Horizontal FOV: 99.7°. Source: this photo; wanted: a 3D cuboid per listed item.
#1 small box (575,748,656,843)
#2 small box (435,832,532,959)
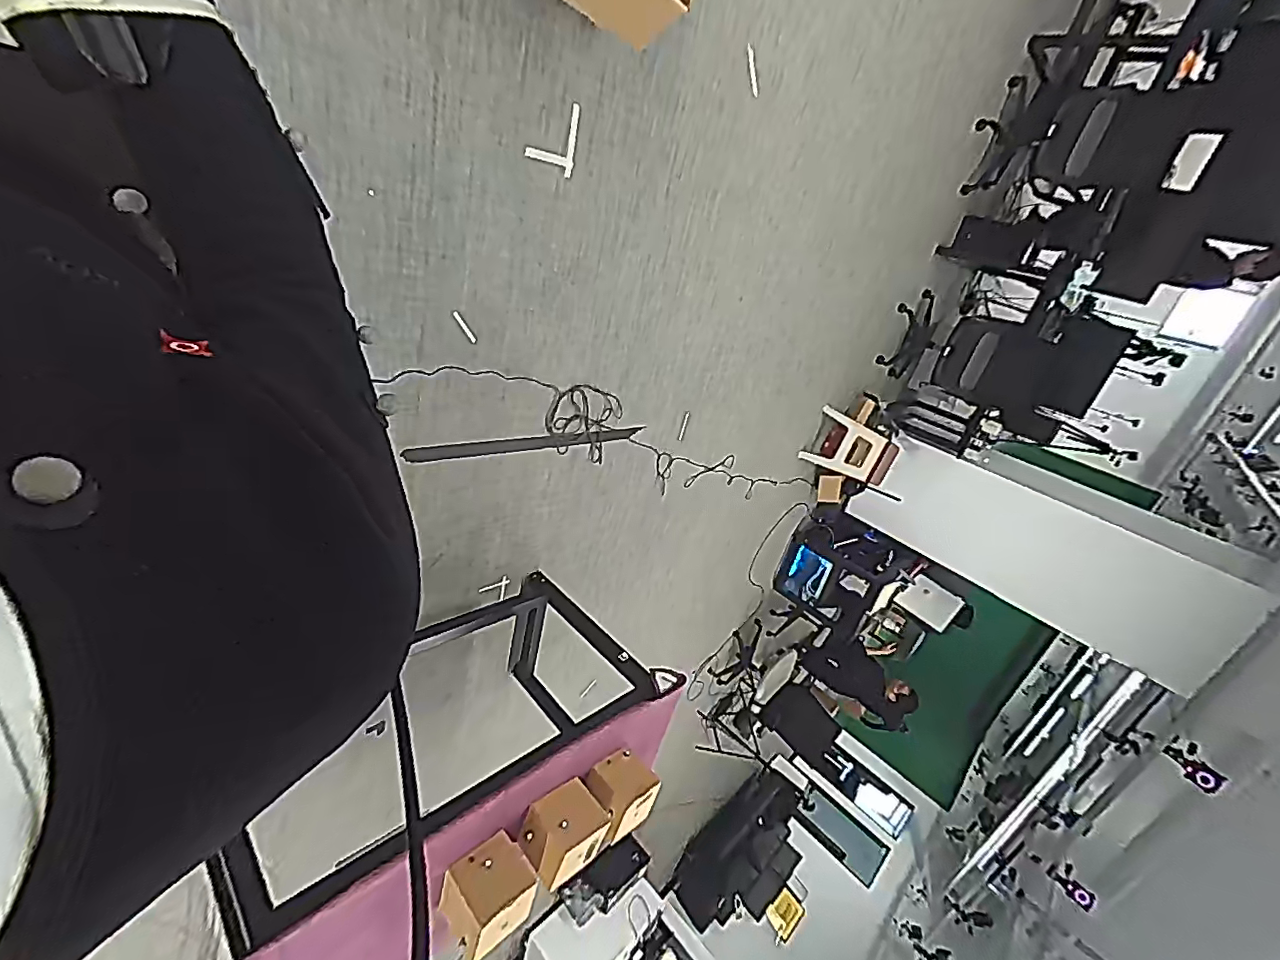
[{"bbox_3d":[-0.083,0.996,1.730,0.168,0.176,0.179,-5,121,-49],"label":"small box"},{"bbox_3d":[-0.405,1.057,1.382,0.168,0.176,0.179,-11,126,-47],"label":"small box"}]
